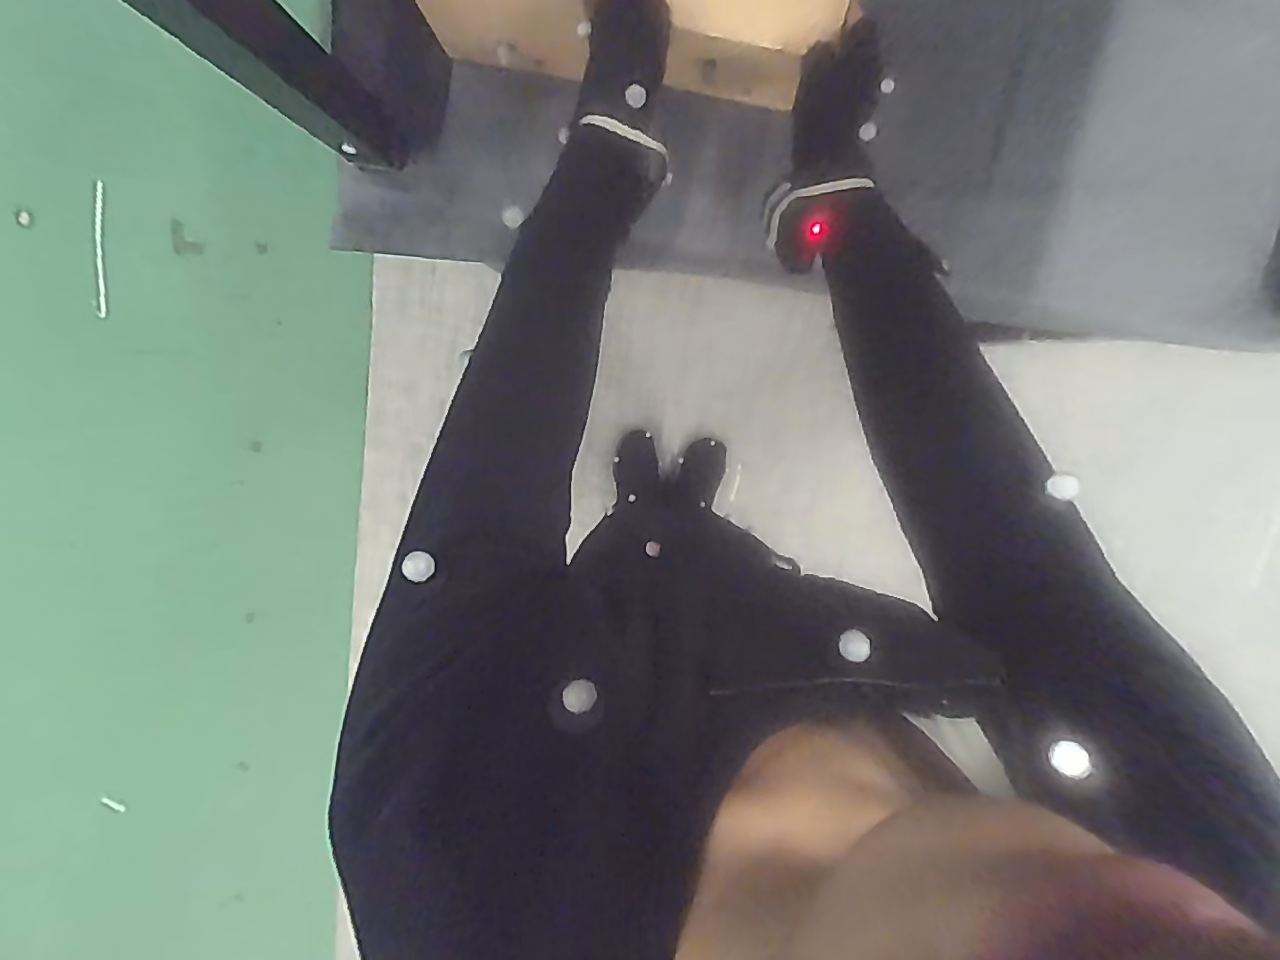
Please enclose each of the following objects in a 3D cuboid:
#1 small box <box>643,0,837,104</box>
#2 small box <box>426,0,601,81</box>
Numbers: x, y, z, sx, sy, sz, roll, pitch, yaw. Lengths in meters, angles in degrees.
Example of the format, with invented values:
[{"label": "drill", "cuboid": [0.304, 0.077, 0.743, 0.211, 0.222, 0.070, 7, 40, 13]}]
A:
[{"label": "small box", "cuboid": [0.101, -0.492, 0.517, 0.168, 0.176, 0.179, 10, 110, -2]}, {"label": "small box", "cuboid": [-0.122, -0.531, 0.515, 0.168, 0.176, 0.179, 8, 102, -3]}]
